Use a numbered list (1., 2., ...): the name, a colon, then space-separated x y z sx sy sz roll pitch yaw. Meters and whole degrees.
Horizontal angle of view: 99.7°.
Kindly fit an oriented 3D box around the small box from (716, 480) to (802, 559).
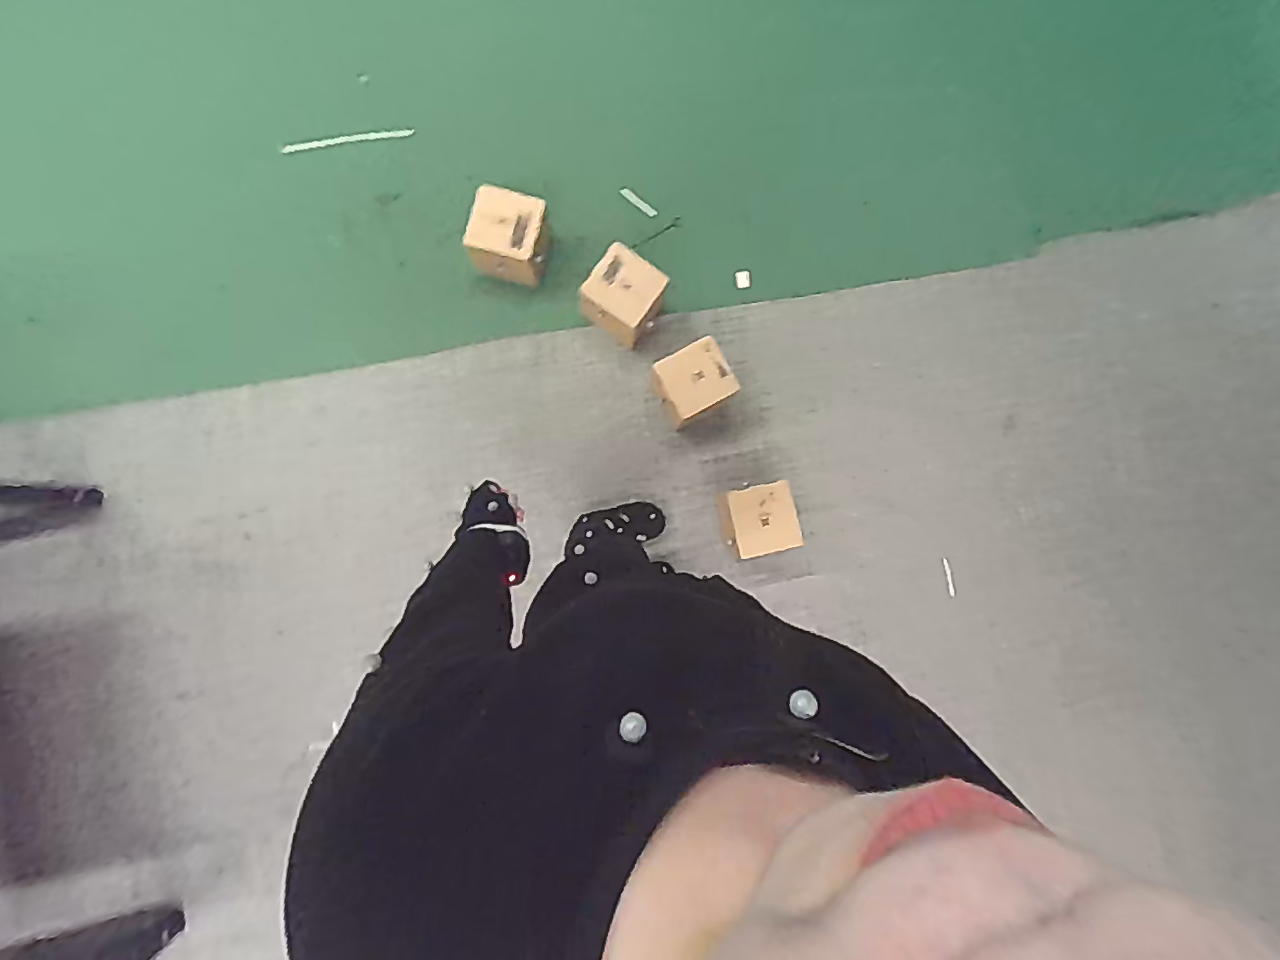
1. small box: 0.310 0.101 1.438 0.168 0.176 0.179 -12 87 -4

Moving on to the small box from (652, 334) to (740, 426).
1. small box: 0.143 -0.260 1.456 0.179 0.176 0.168 -28 88 -4

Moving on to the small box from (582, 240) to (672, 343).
1. small box: -0.039 -0.498 1.463 0.179 0.176 0.168 35 85 -1
